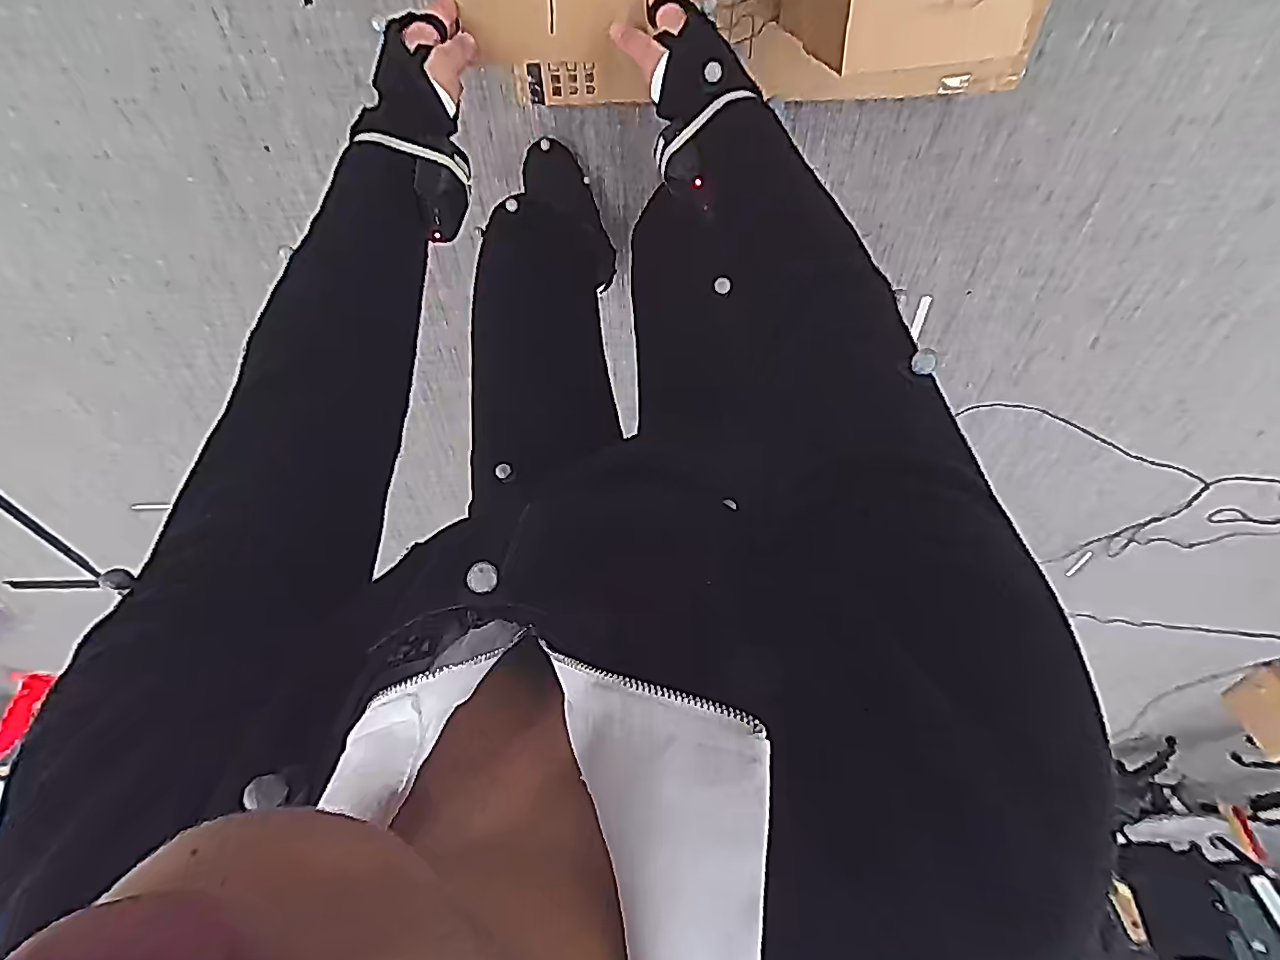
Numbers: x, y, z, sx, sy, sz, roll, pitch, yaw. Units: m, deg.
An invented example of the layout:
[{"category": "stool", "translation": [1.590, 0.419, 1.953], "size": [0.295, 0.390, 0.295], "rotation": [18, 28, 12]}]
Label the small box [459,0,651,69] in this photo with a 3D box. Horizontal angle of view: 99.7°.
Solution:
[{"category": "small box", "translation": [-0.078, -0.493, 0.490], "size": [0.168, 0.176, 0.179], "rotation": [-2, 135, -2]}]

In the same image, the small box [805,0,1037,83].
[{"category": "small box", "translation": [0.262, -0.502, 0.507], "size": [0.168, 0.176, 0.179], "rotation": [-4, 136, 4]}]

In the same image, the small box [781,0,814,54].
[{"category": "small box", "translation": [0.267, -0.619, 0.620], "size": [0.168, 0.176, 0.179], "rotation": [-4, 137, 0]}]
